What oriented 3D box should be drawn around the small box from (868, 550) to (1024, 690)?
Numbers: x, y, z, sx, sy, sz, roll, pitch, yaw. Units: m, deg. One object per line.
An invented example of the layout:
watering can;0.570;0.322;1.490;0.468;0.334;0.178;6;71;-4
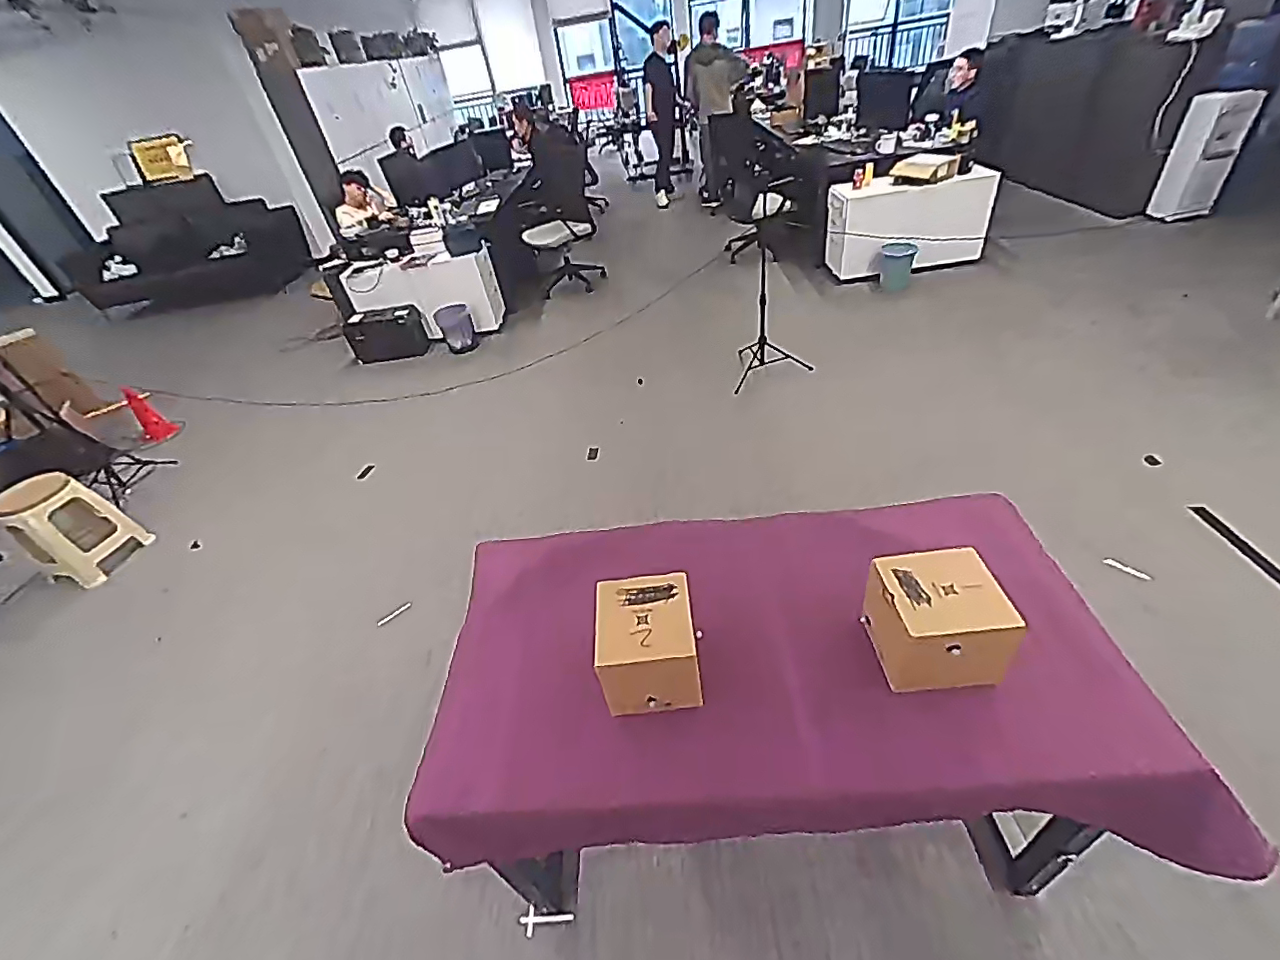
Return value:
small box;0.506;0.244;0.931;0.179;0.176;0.168;-7;39;4
